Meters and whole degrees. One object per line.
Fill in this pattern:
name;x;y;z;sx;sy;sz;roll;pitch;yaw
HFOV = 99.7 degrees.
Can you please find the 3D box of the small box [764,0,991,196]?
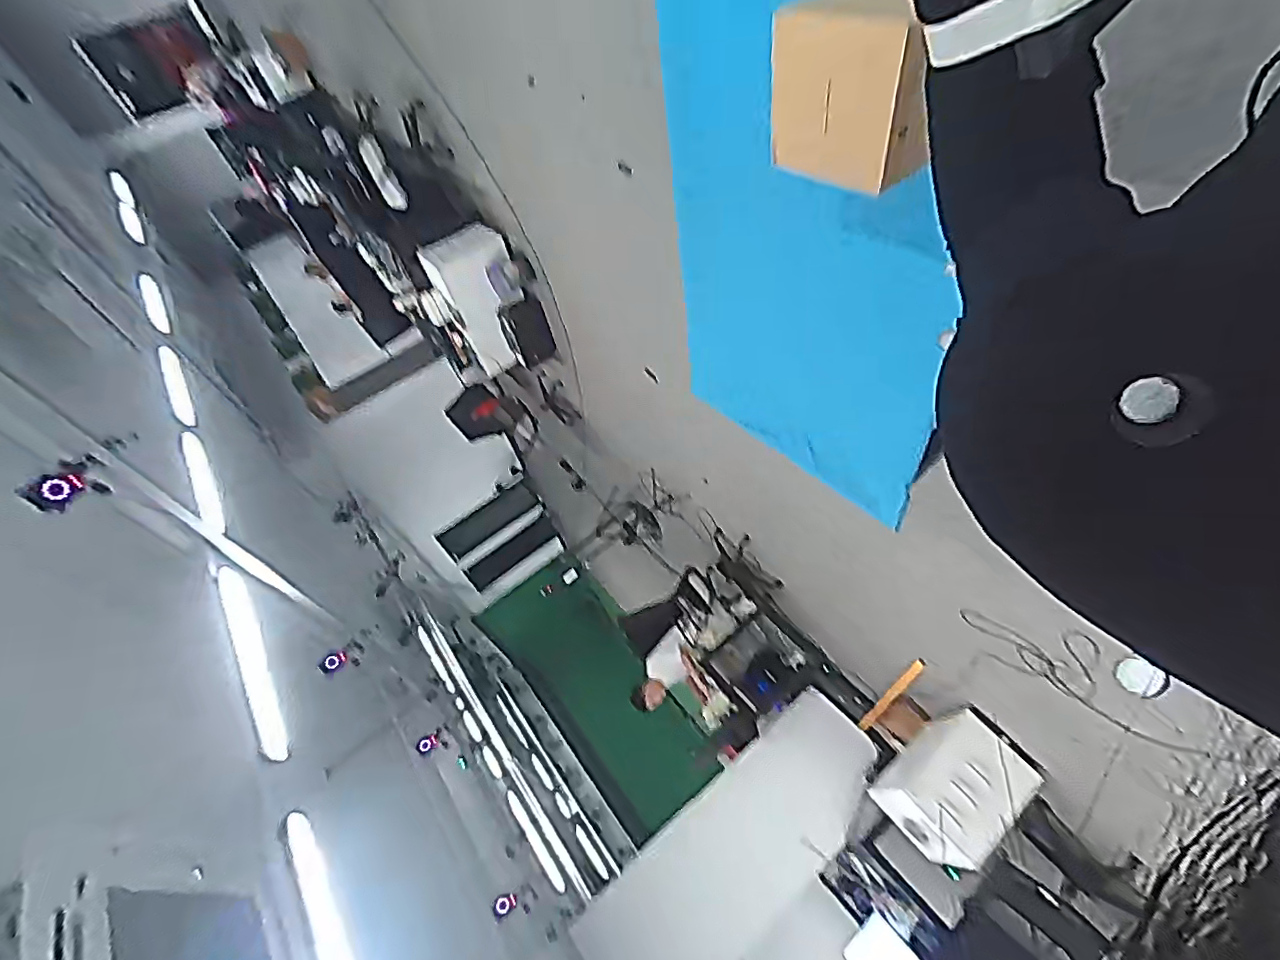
small box;0.275;-0.474;0.659;0.179;0.176;0.168;42;159;35
